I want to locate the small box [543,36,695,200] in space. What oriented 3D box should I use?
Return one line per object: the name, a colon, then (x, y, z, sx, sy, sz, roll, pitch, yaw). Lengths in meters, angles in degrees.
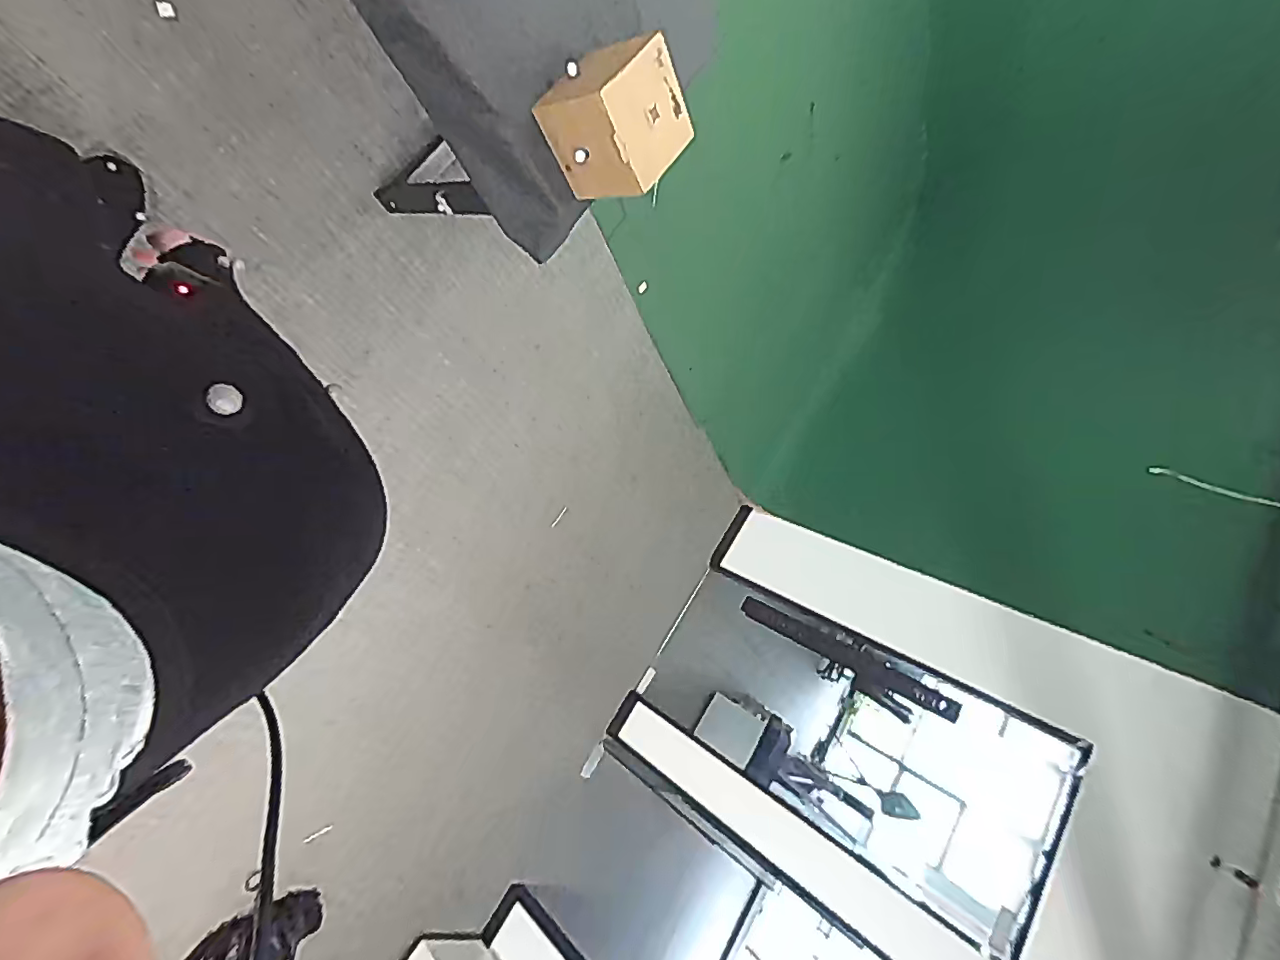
small box: (-0.040, -0.602, 0.922, 0.179, 0.176, 0.168, -55, 140, -18)
